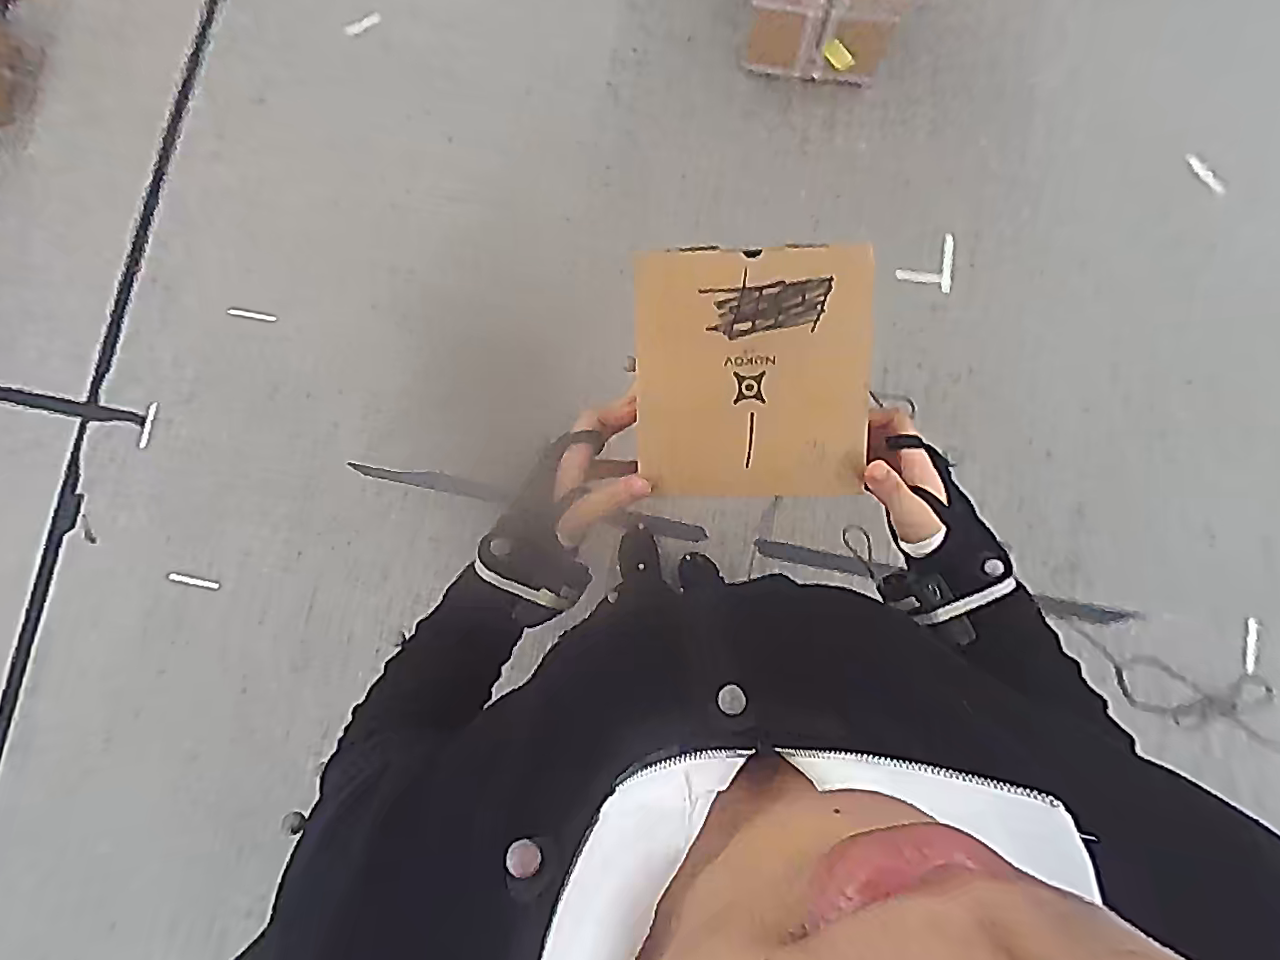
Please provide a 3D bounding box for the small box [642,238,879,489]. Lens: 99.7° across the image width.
[{"bbox_3d":[0.087,-0.090,0.463,0.168,0.176,0.179,0,98,3],"label":"small box"}]
